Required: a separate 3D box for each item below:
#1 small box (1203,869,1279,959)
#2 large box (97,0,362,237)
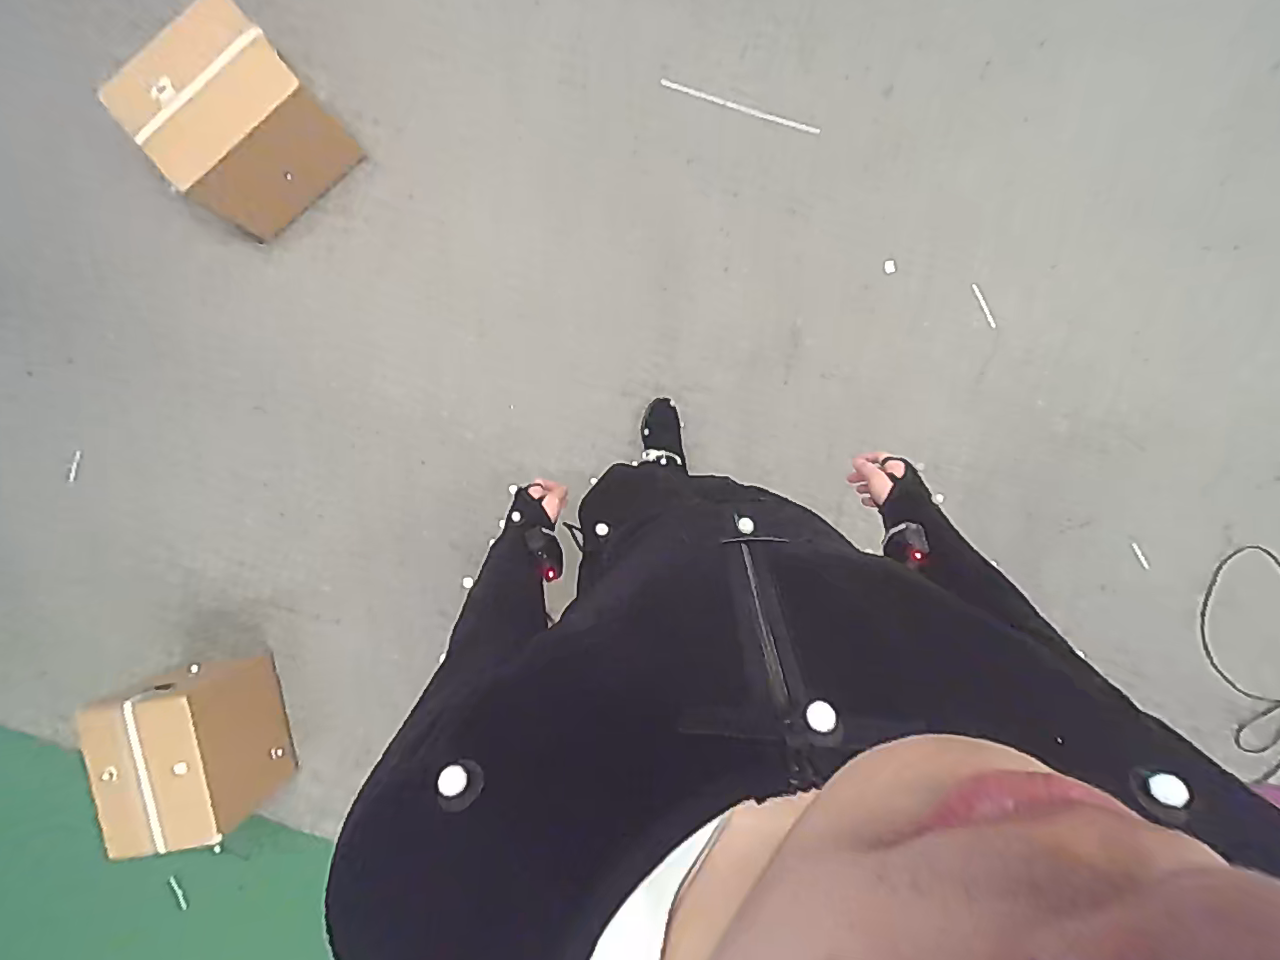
[{"bbox_3d":[1.019,0.761,0.841,0.168,0.176,0.179,18,95,0],"label":"small box"},{"bbox_3d":[-1.049,-0.942,1.431,0.408,0.320,0.320,-40,91,4],"label":"large box"}]
